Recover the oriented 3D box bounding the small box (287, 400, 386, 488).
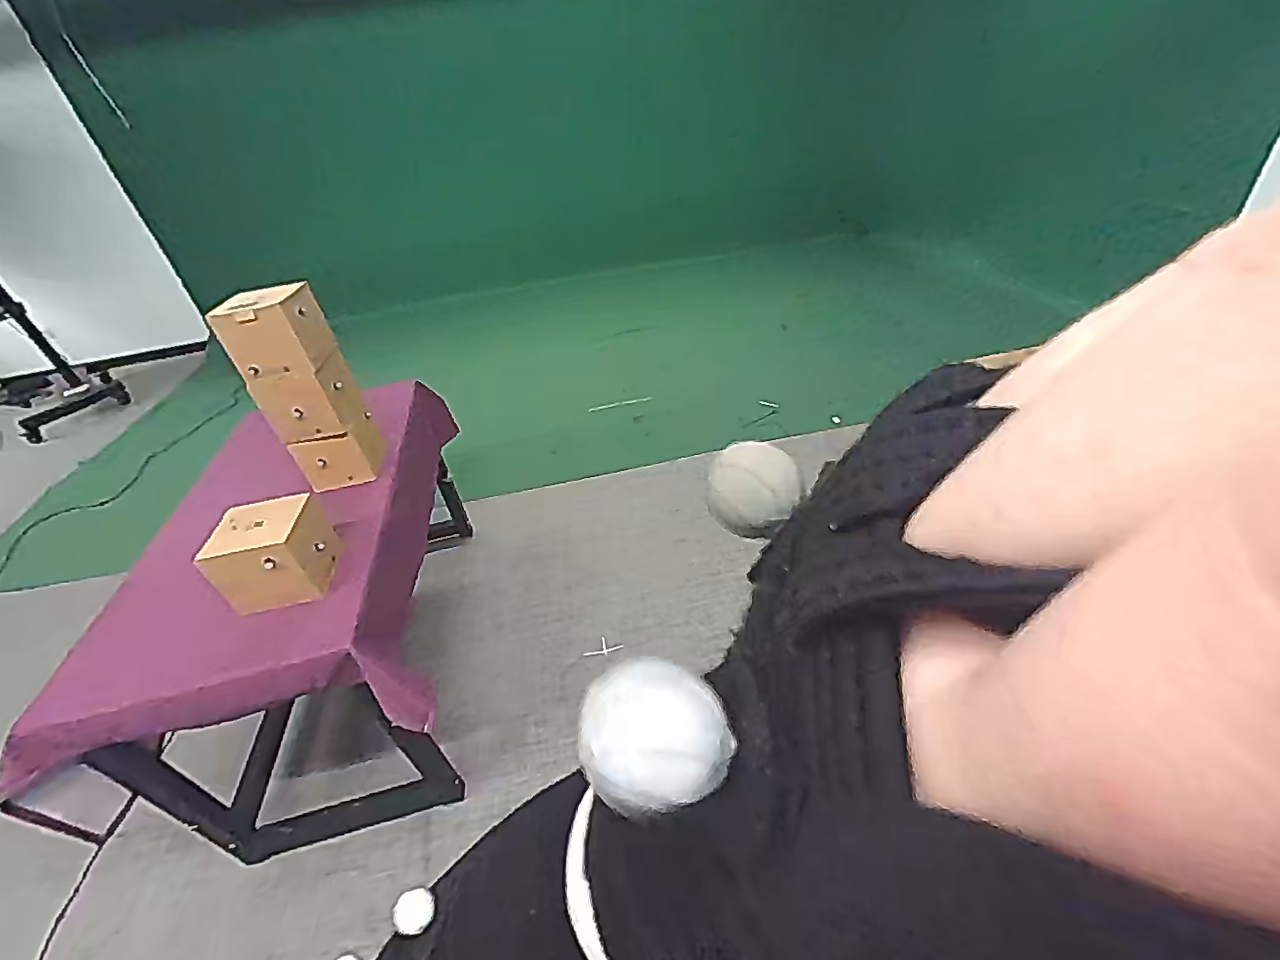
[{"bbox_3d":[-0.826,-0.094,1.494,0.168,0.176,0.179,-13,37,-4],"label":"small box"}]

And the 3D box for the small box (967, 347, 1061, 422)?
[{"bbox_3d":[1.196,-0.308,1.748,0.168,0.176,0.179,-10,38,0],"label":"small box"}]

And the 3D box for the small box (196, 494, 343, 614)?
[{"bbox_3d":[-0.771,0.158,1.152,0.179,0.176,0.168,-12,37,-3],"label":"small box"}]

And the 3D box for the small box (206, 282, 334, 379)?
[{"bbox_3d":[-0.870,-0.353,1.296,0.168,0.176,0.179,-11,36,-2],"label":"small box"}]

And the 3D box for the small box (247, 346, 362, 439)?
[{"bbox_3d":[-0.847,-0.219,1.389,0.168,0.176,0.179,-11,38,-2],"label":"small box"}]
